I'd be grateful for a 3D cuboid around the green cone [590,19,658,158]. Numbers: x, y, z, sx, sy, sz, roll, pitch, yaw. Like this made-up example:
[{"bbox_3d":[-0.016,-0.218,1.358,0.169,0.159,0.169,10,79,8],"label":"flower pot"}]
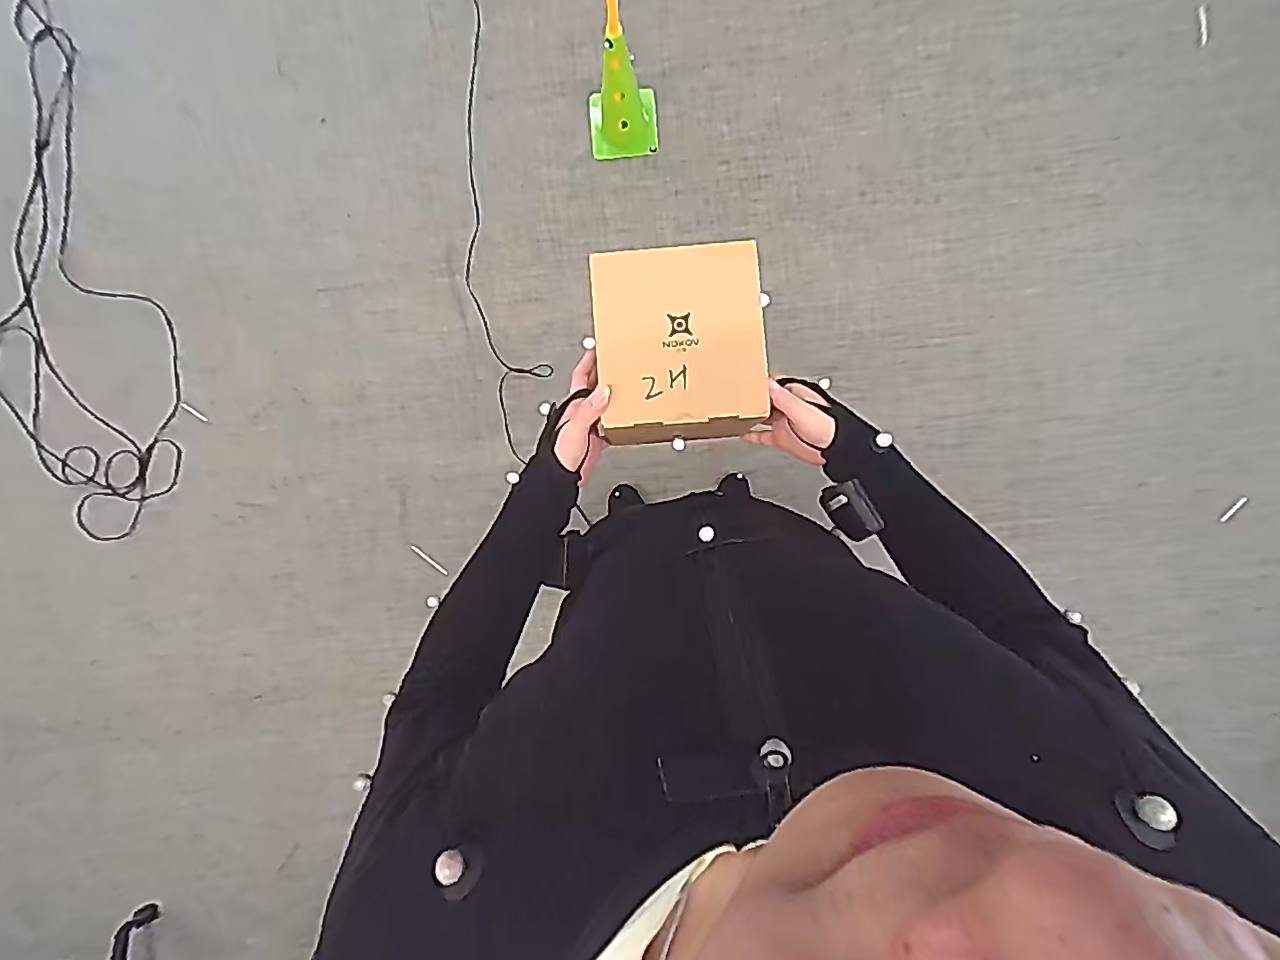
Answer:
[{"bbox_3d":[-0.058,-1.085,1.467,0.202,0.368,0.200,-5,90,3],"label":"green cone"}]
